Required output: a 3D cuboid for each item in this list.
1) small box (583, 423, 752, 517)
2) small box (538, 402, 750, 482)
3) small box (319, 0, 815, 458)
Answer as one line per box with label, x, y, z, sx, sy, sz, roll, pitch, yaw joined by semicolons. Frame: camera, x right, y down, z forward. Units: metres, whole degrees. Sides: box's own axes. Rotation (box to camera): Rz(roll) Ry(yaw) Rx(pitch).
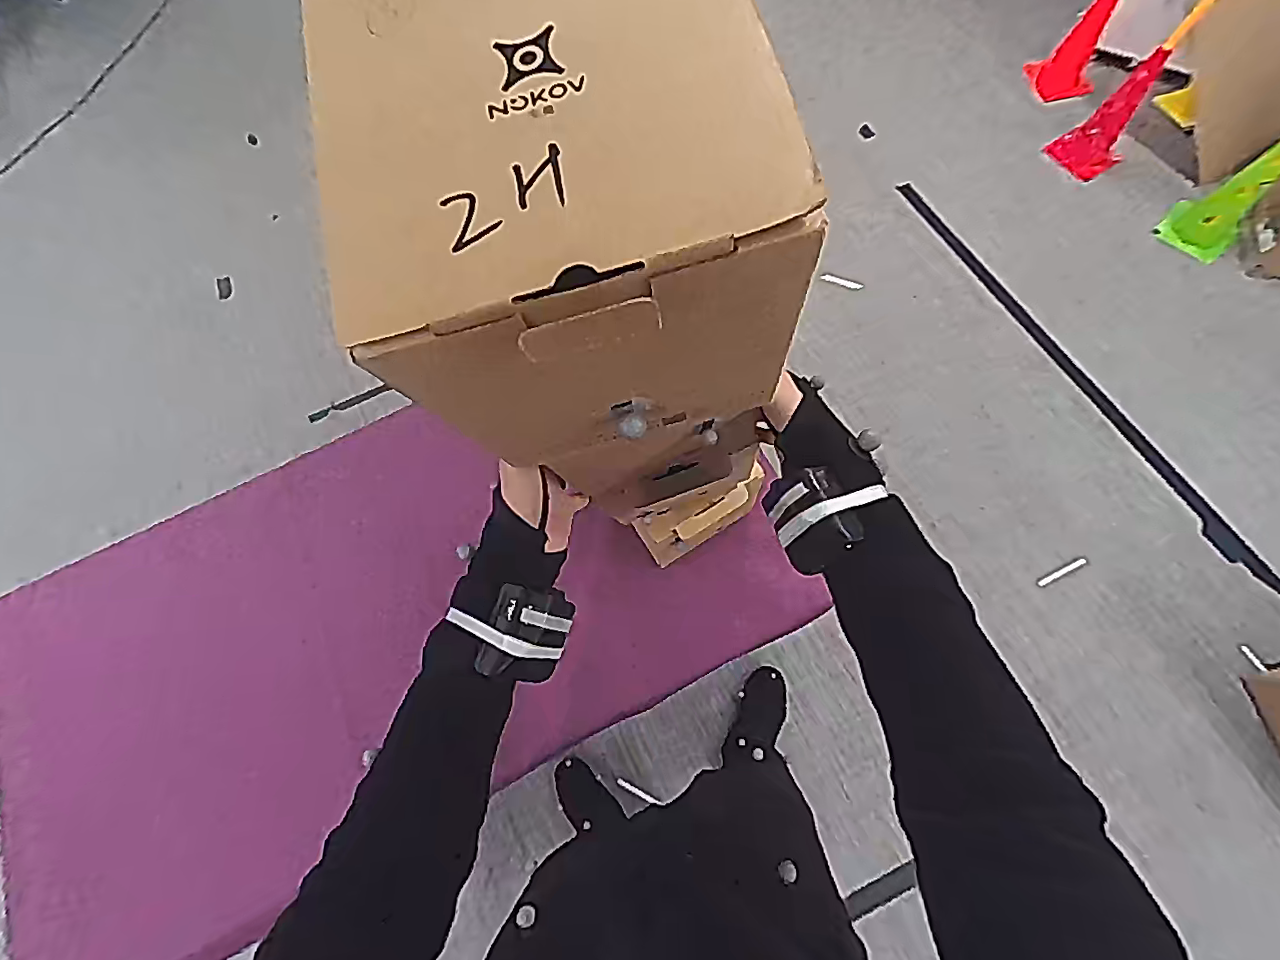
small box;0.015;-0.067;0.597;0.168;0.176;0.179;-20;75;3
small box;-0.012;-0.108;0.441;0.168;0.176;0.179;-19;75;3
small box;-0.029;-0.129;0.278;0.168;0.176;0.179;-14;76;5
